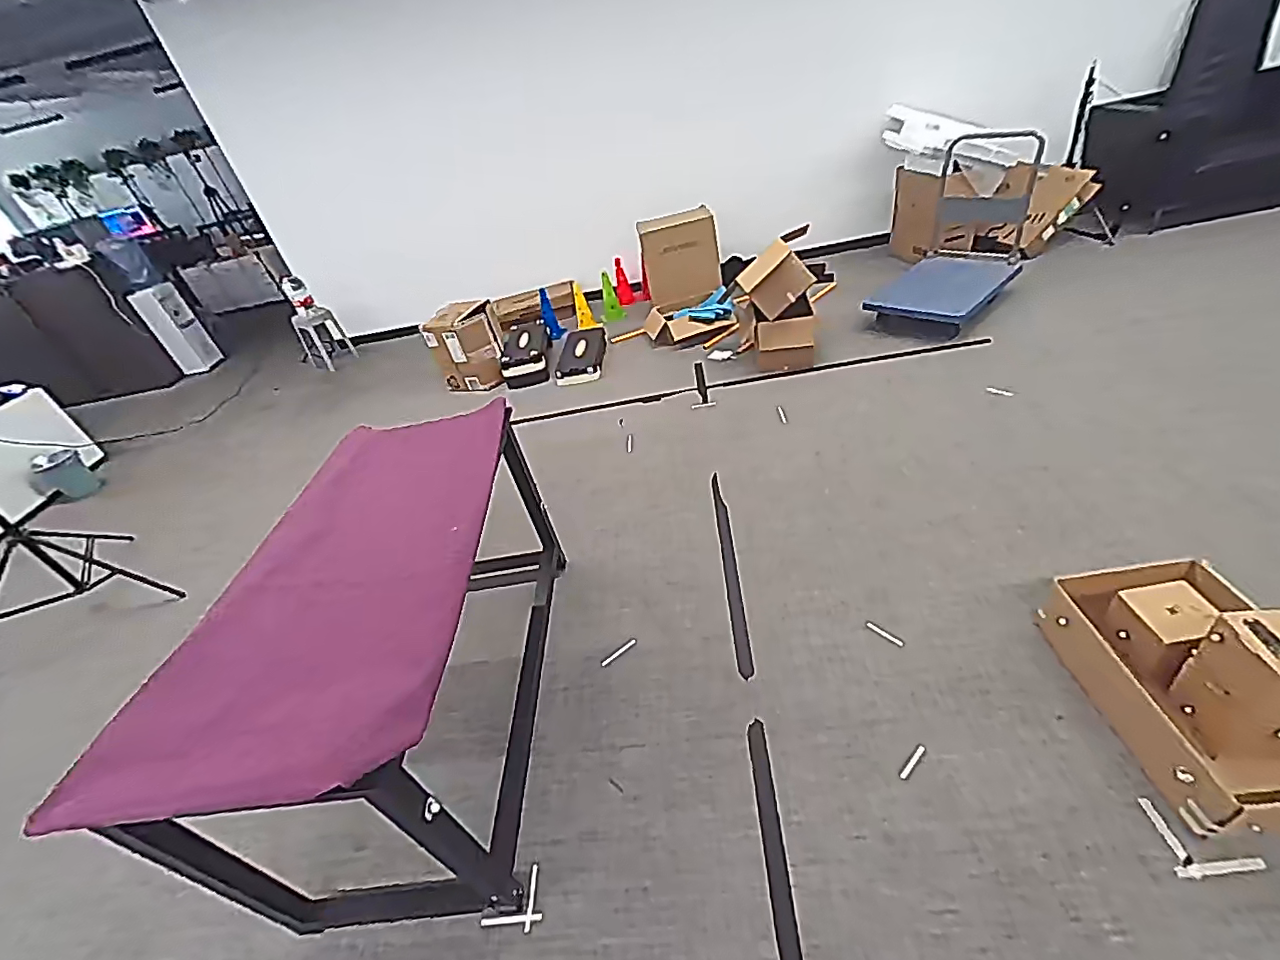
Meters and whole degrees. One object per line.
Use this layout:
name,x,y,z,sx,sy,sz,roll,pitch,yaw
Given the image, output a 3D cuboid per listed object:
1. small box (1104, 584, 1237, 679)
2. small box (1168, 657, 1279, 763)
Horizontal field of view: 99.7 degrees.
small box,1.371,0.401,1.419,0.179,0.176,0.168,-10,39,5
small box,1.395,0.532,1.249,0.179,0.176,0.168,-7,35,10
